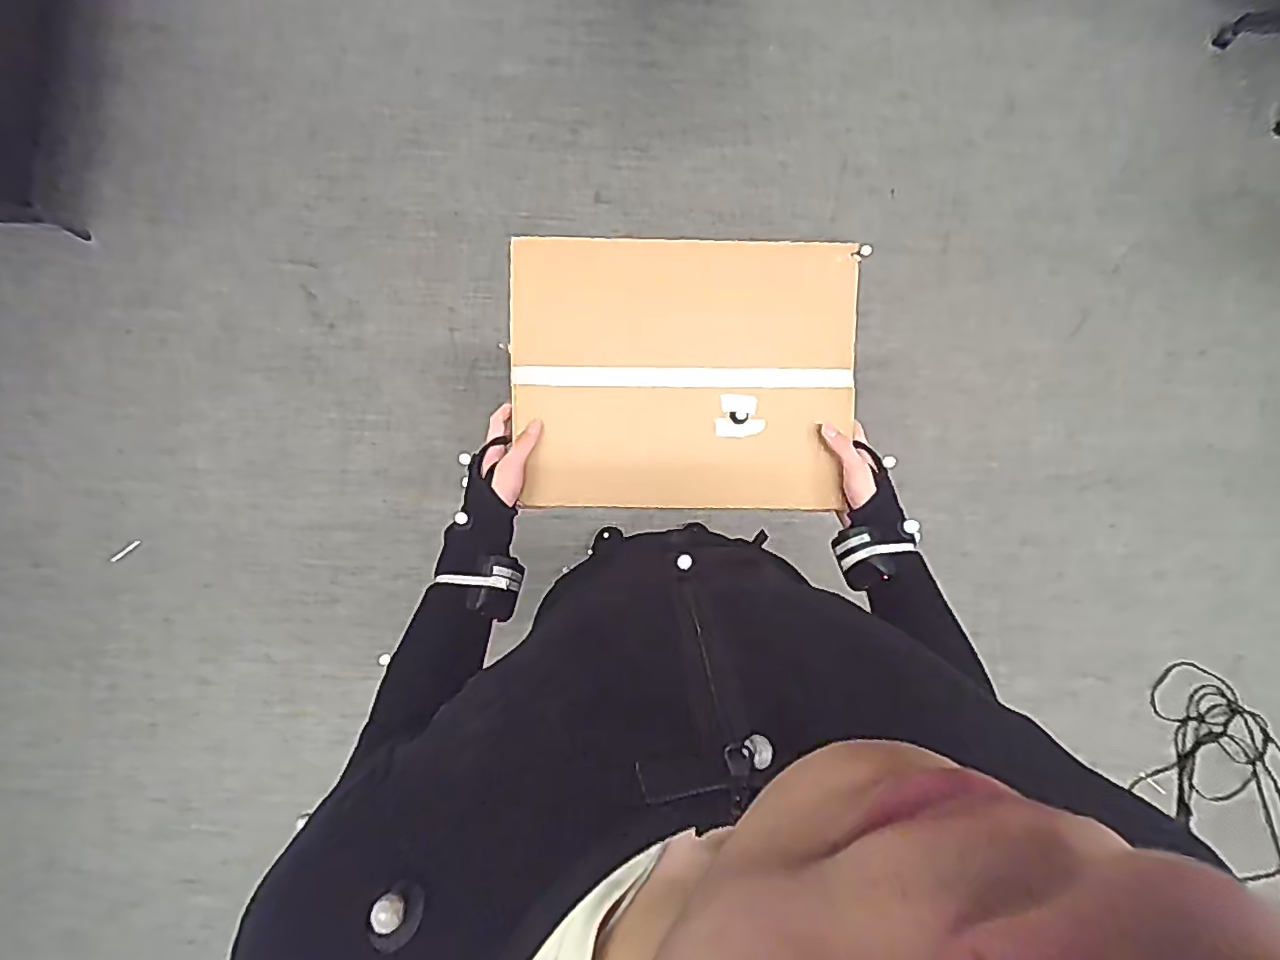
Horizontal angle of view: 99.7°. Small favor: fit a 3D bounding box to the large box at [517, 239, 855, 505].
[{"bbox_3d":[0.052,-0.140,0.792,0.408,0.320,0.320,0,96,-1],"label":"large box"}]
